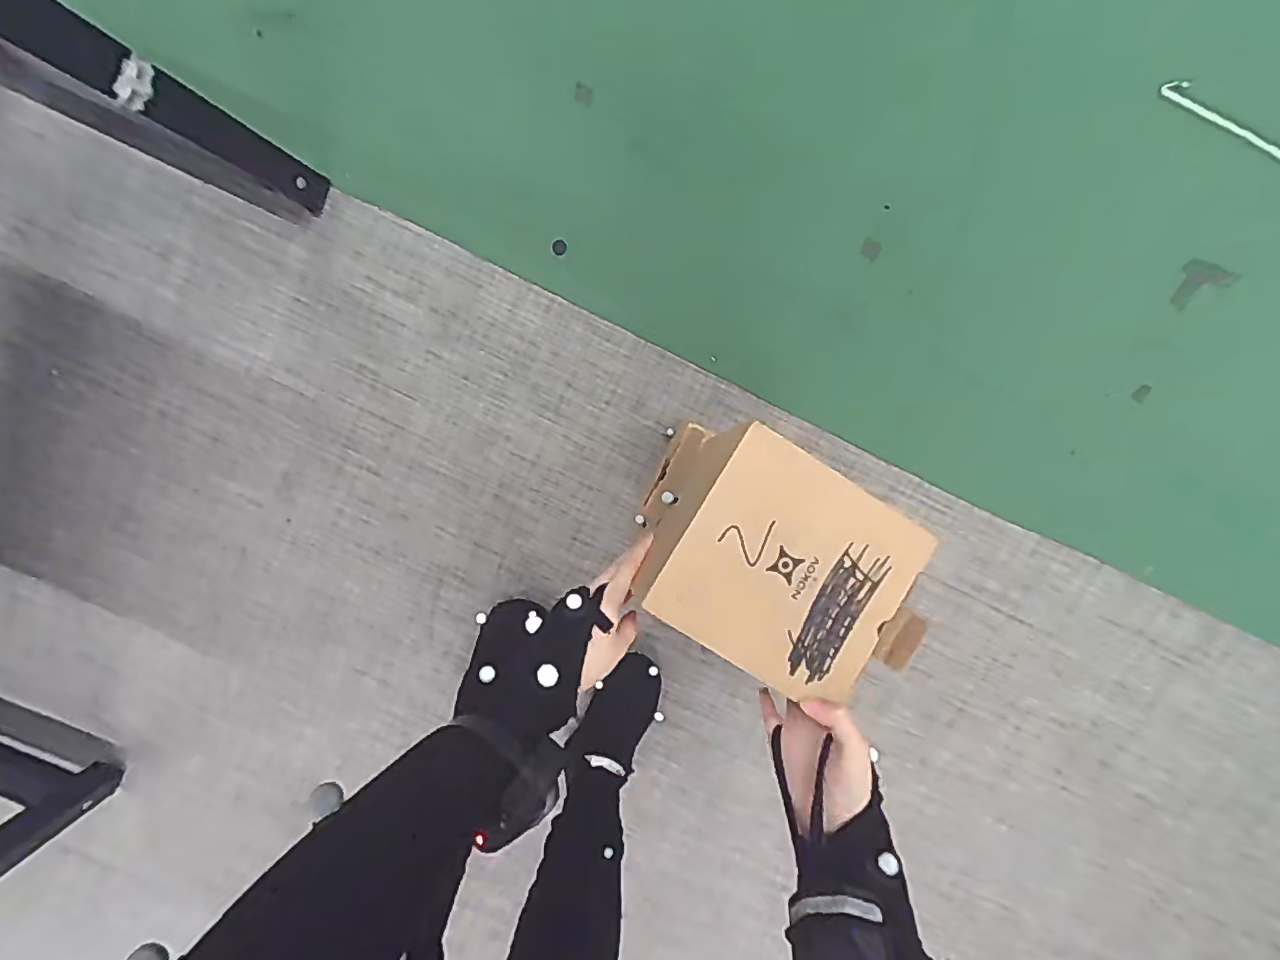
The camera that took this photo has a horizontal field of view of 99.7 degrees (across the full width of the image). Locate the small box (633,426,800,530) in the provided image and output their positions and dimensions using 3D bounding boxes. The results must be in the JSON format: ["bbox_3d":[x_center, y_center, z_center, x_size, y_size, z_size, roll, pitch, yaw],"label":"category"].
[{"bbox_3d":[0.104,0.029,0.812,0.179,0.176,0.168,29,98,-4],"label":"small box"}]

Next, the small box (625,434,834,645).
[{"bbox_3d":[0.096,0.058,0.653,0.168,0.176,0.179,27,97,-4],"label":"small box"}]
